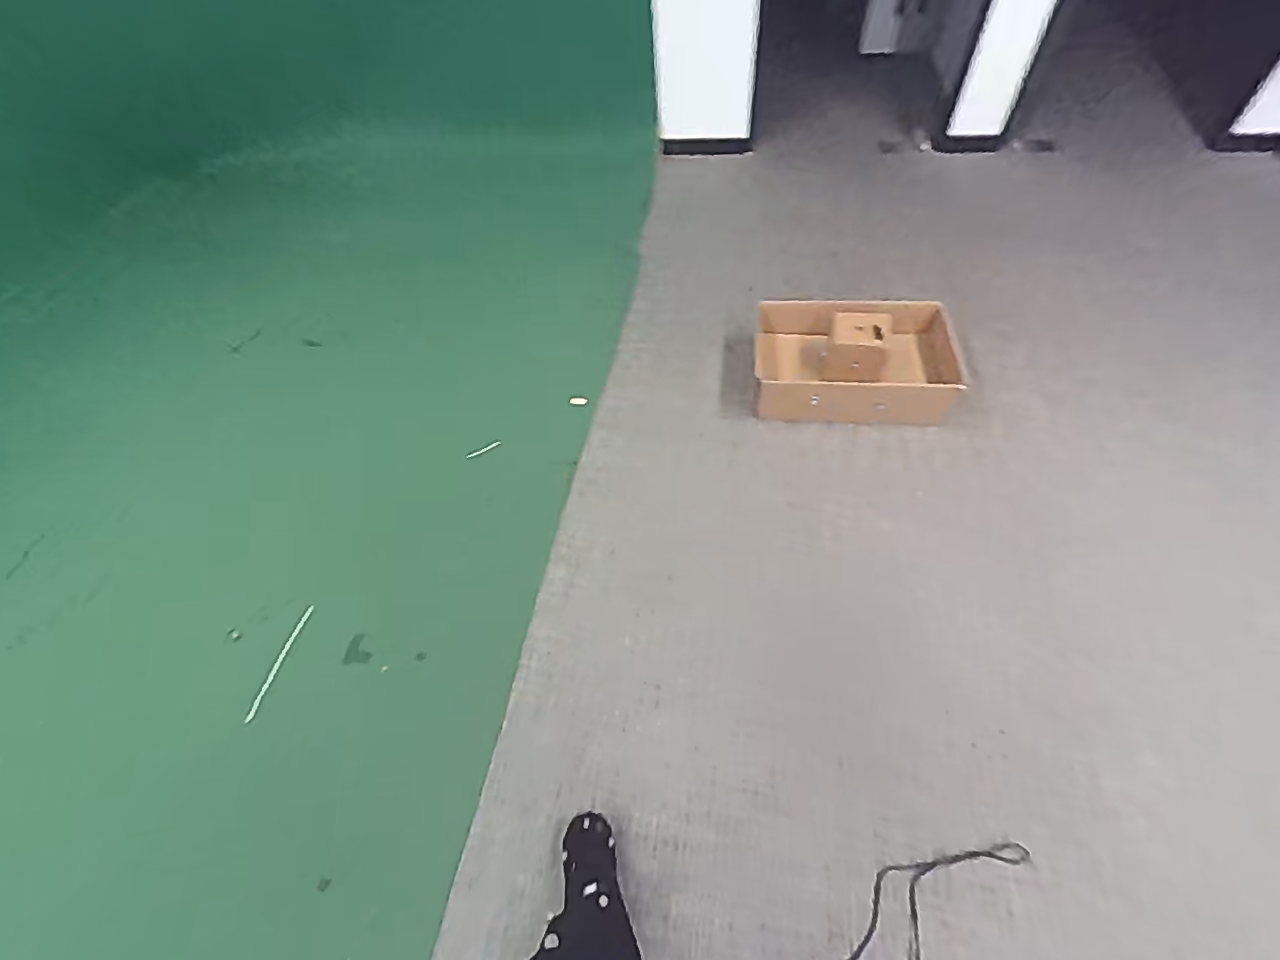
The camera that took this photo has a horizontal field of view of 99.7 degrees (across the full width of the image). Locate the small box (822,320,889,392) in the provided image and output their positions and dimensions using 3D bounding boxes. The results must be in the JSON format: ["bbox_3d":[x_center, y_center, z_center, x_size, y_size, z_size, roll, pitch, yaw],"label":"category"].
[{"bbox_3d":[0.721,-0.414,1.814,0.179,0.176,0.168,7,55,14],"label":"small box"}]
